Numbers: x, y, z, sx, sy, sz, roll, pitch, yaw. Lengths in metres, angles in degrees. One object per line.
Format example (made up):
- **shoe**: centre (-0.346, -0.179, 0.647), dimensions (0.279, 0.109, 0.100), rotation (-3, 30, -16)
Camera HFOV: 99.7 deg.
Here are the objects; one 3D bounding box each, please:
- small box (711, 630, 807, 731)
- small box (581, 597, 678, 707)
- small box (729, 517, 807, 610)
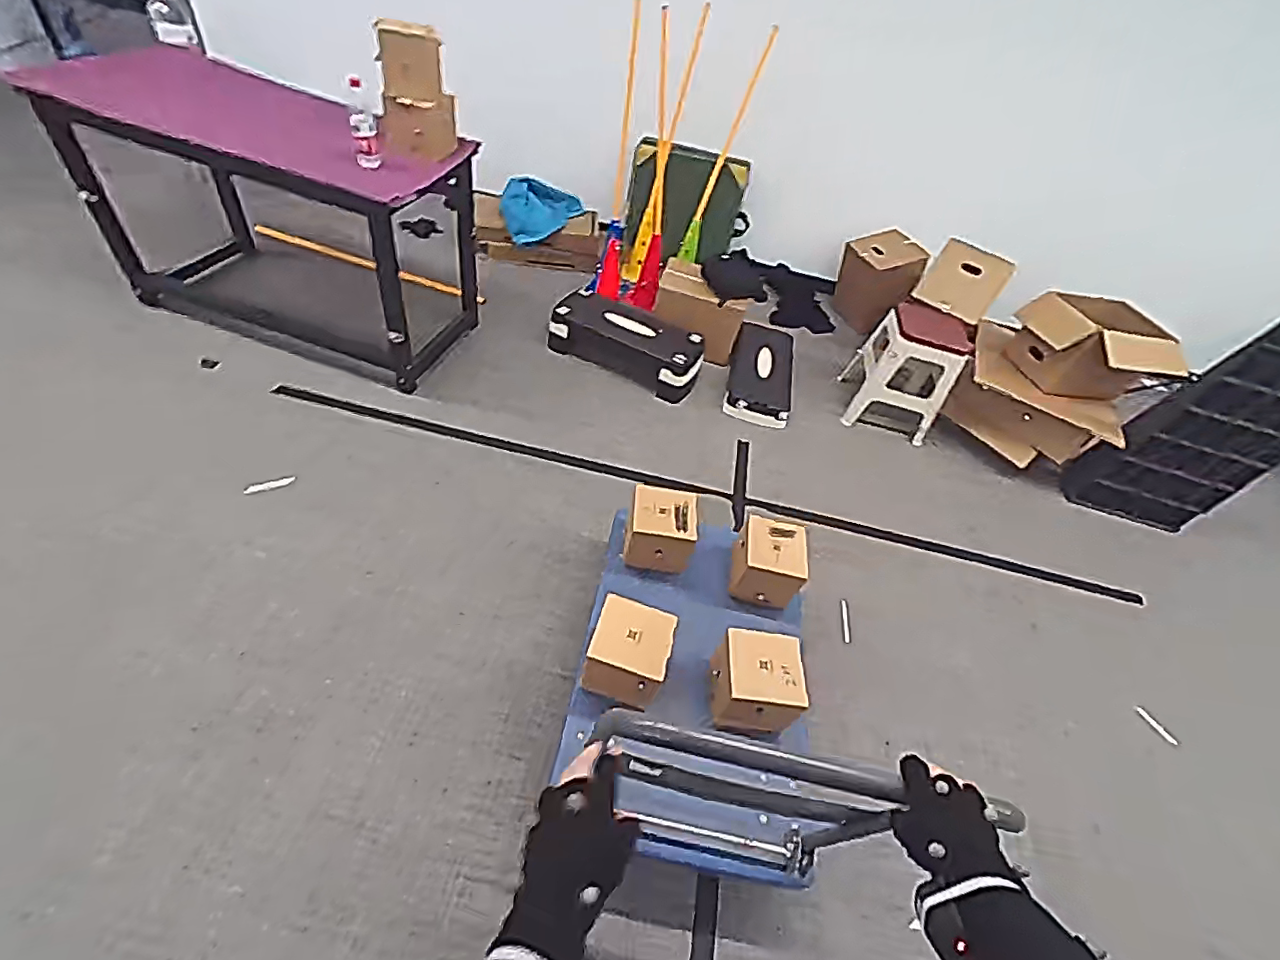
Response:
- **small box**: centre (0.270, 0.477, 1.277), dimensions (0.179, 0.176, 0.168), rotation (10, 47, -5)
- **small box**: centre (-0.029, 0.407, 1.268), dimensions (0.179, 0.176, 0.168), rotation (19, 46, 1)
- **small box**: centre (0.354, 0.236, 1.519), dimensions (0.168, 0.176, 0.179), rotation (13, 48, -1)
